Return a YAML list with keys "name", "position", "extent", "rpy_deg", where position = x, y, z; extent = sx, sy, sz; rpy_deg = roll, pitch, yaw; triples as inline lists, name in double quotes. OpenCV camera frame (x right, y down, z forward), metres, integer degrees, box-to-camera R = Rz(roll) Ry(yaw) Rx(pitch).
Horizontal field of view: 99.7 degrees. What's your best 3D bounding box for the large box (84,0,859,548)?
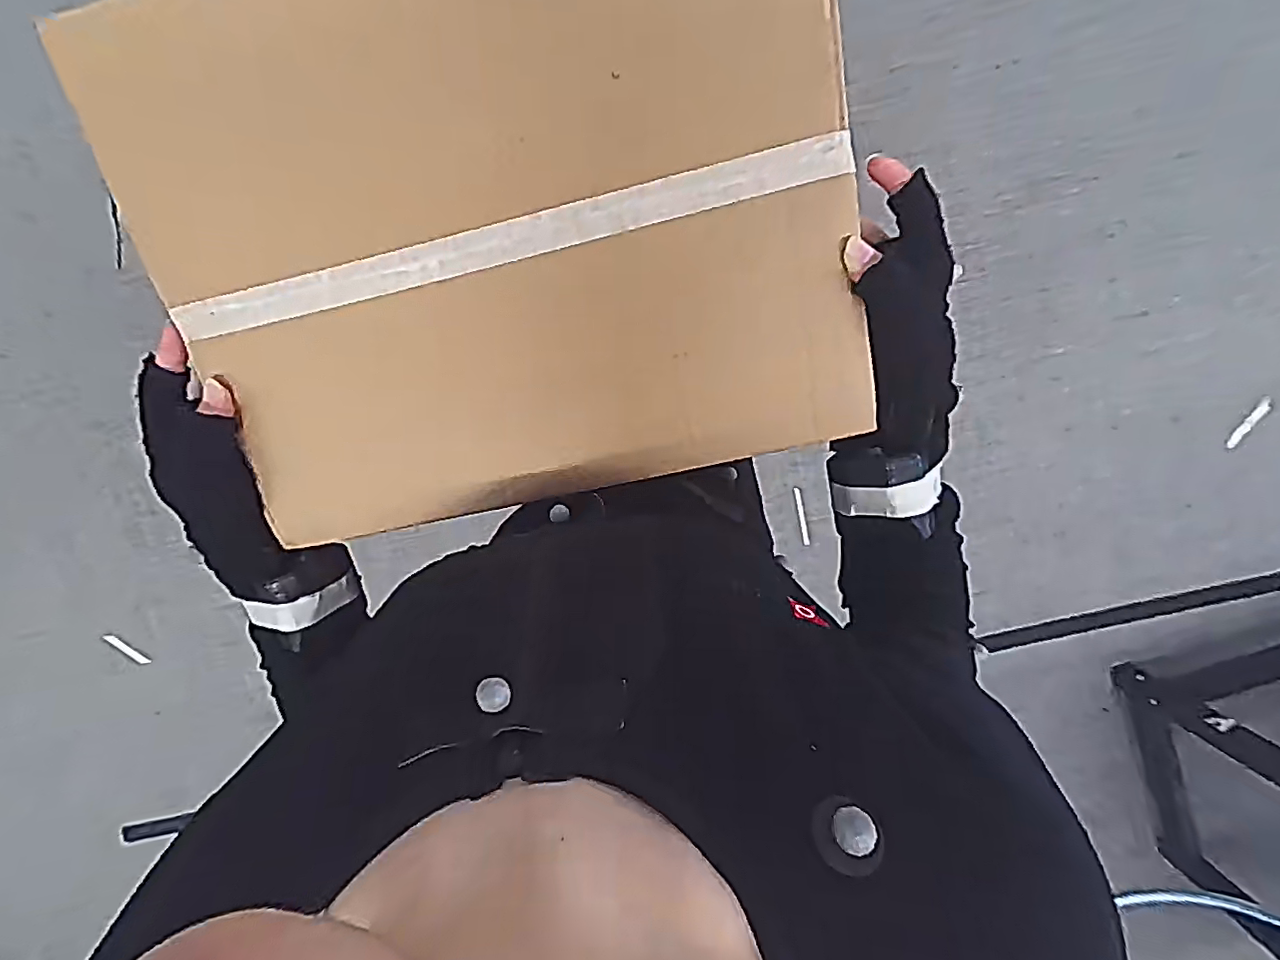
- name: "large box"
  position: [-0.078, -0.181, 0.465]
  extent: [0.408, 0.320, 0.320]
  rpy_deg: [-12, 107, 6]
